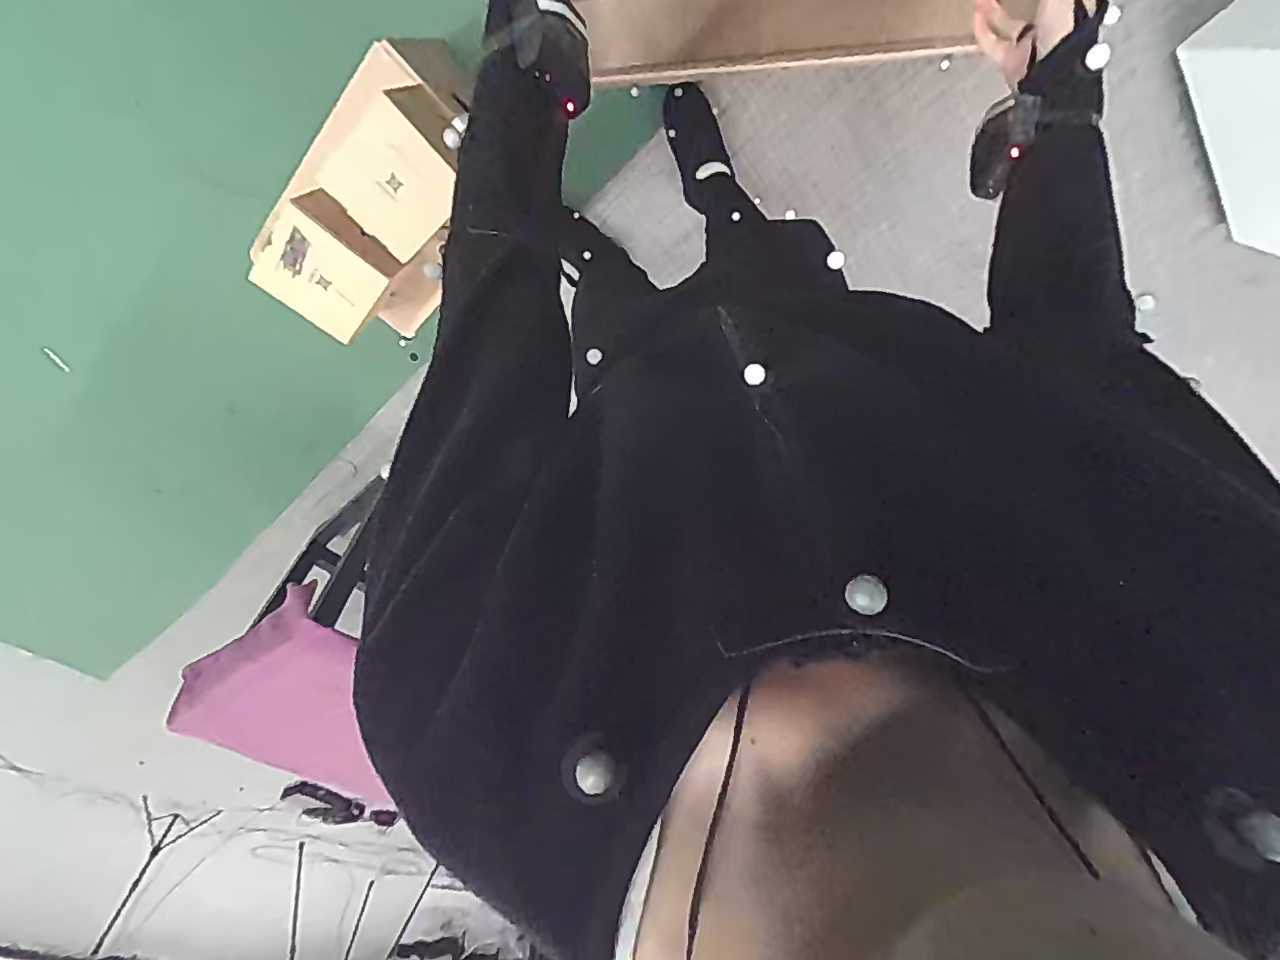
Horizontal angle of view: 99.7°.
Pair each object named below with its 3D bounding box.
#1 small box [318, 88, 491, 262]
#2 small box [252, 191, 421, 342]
[{"bbox_3d":[-0.368,-0.496,0.879,0.179,0.176,0.168,-32,122,22],"label":"small box"},{"bbox_3d":[-0.529,-0.387,0.965,0.168,0.176,0.179,-38,119,26],"label":"small box"}]
